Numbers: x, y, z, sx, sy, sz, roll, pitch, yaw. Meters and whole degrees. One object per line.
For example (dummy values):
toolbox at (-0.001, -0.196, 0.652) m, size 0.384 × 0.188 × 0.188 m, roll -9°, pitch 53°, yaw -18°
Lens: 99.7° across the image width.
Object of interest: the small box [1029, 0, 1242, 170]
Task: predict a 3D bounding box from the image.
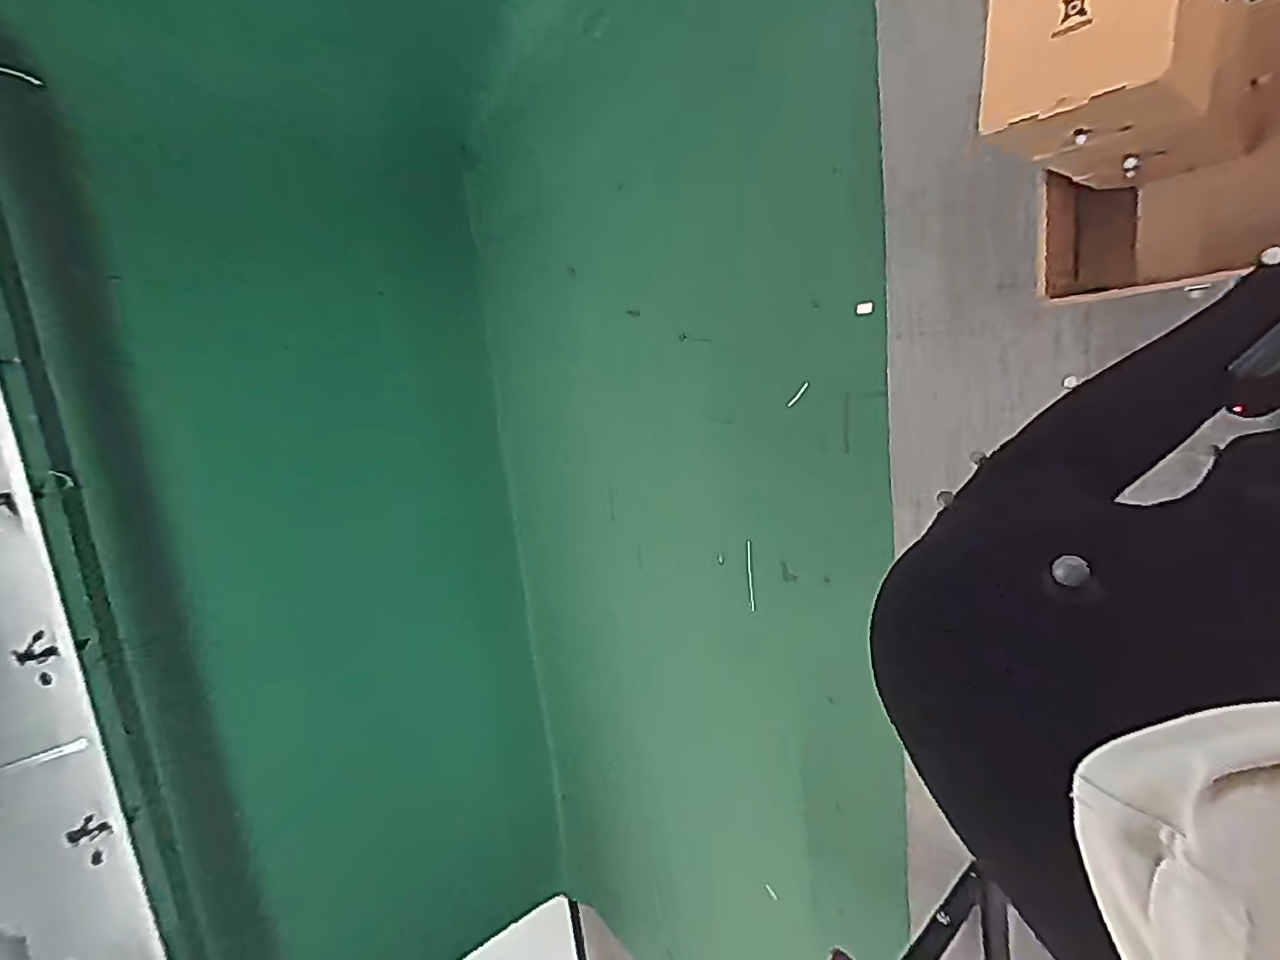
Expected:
small box at (0.633, -0.528, 0.694) m, size 0.168 × 0.176 × 0.179 m, roll 13°, pitch 111°, yaw 52°

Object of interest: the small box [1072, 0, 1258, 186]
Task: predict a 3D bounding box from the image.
small box at (0.763, -0.557, 0.789) m, size 0.168 × 0.176 × 0.179 m, roll 9°, pitch 107°, yaw 53°

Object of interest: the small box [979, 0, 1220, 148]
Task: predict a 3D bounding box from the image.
small box at (0.506, -0.499, 0.596) m, size 0.168 × 0.176 × 0.179 m, roll 14°, pitch 112°, yaw 51°
